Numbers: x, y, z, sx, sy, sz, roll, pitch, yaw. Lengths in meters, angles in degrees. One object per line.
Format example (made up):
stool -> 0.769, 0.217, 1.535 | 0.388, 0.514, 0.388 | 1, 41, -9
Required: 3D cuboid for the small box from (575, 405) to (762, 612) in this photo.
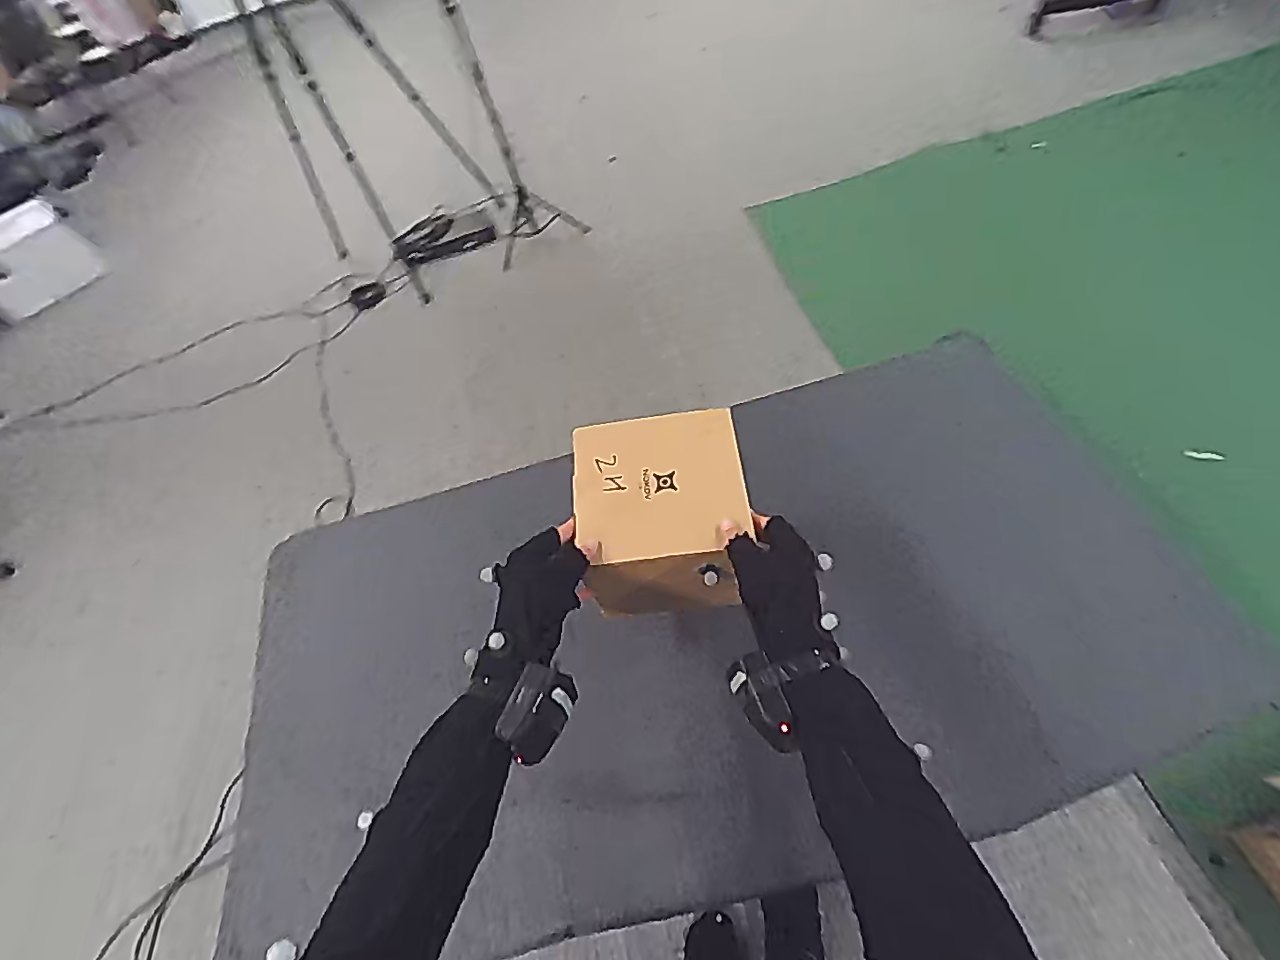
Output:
small box -> 0.031, 0.040, 0.605 | 0.179, 0.176, 0.168 | -8, 60, 5
